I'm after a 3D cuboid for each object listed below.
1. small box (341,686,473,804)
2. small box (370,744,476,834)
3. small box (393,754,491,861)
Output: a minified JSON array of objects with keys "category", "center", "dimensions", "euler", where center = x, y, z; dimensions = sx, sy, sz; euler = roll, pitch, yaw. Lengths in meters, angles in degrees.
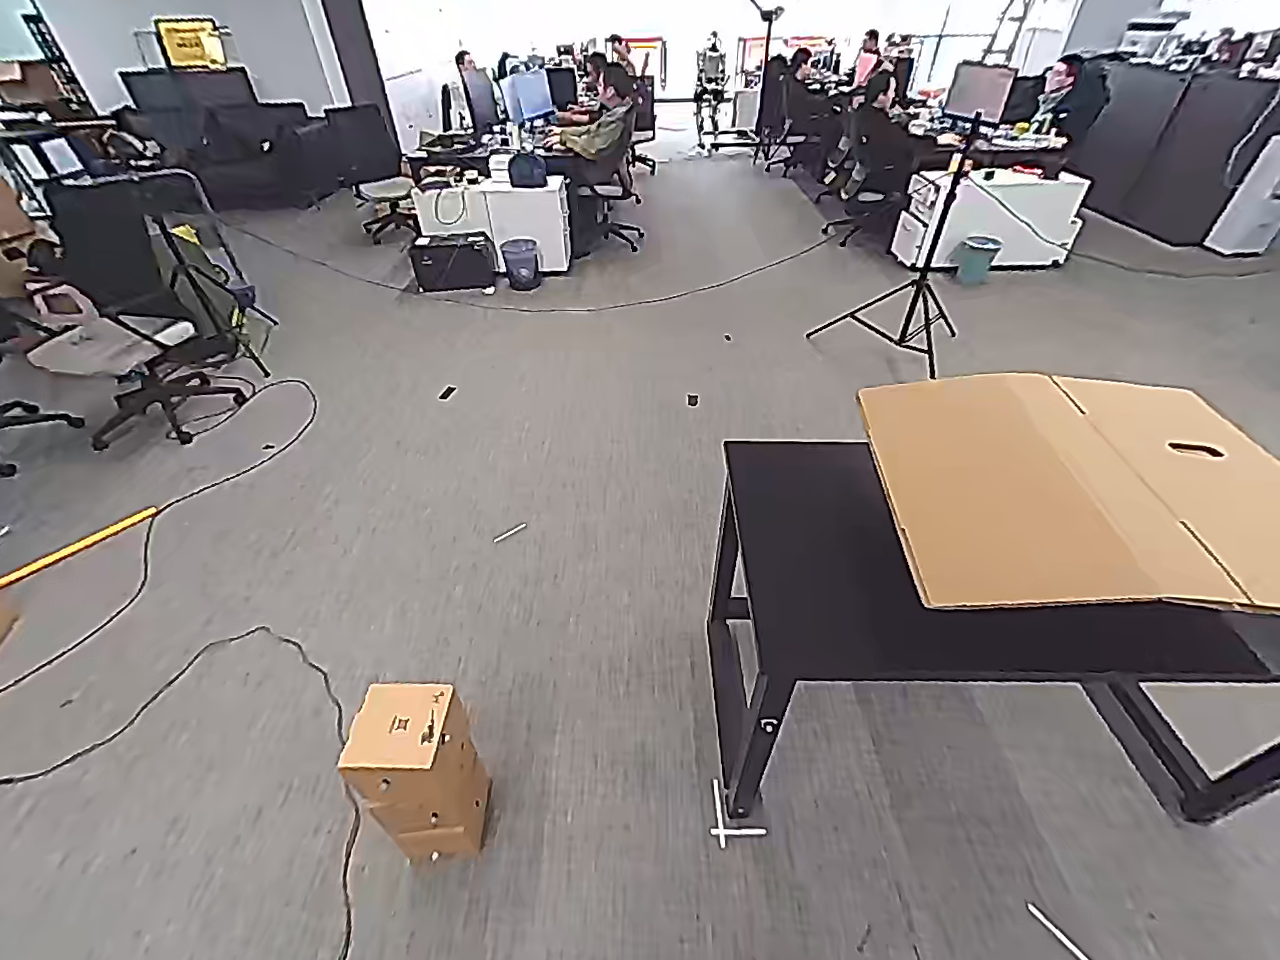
[{"category":"small box","center":[-0.458,0.538,1.095],"dimensions":[0.179,0.176,0.168],"euler":[0,40,1]},{"category":"small box","center":[-0.470,0.662,1.203],"dimensions":[0.168,0.176,0.179],"euler":[-4,39,-5]},{"category":"small box","center":[-0.465,0.789,1.303],"dimensions":[0.168,0.176,0.179],"euler":[-3,41,-2]}]
